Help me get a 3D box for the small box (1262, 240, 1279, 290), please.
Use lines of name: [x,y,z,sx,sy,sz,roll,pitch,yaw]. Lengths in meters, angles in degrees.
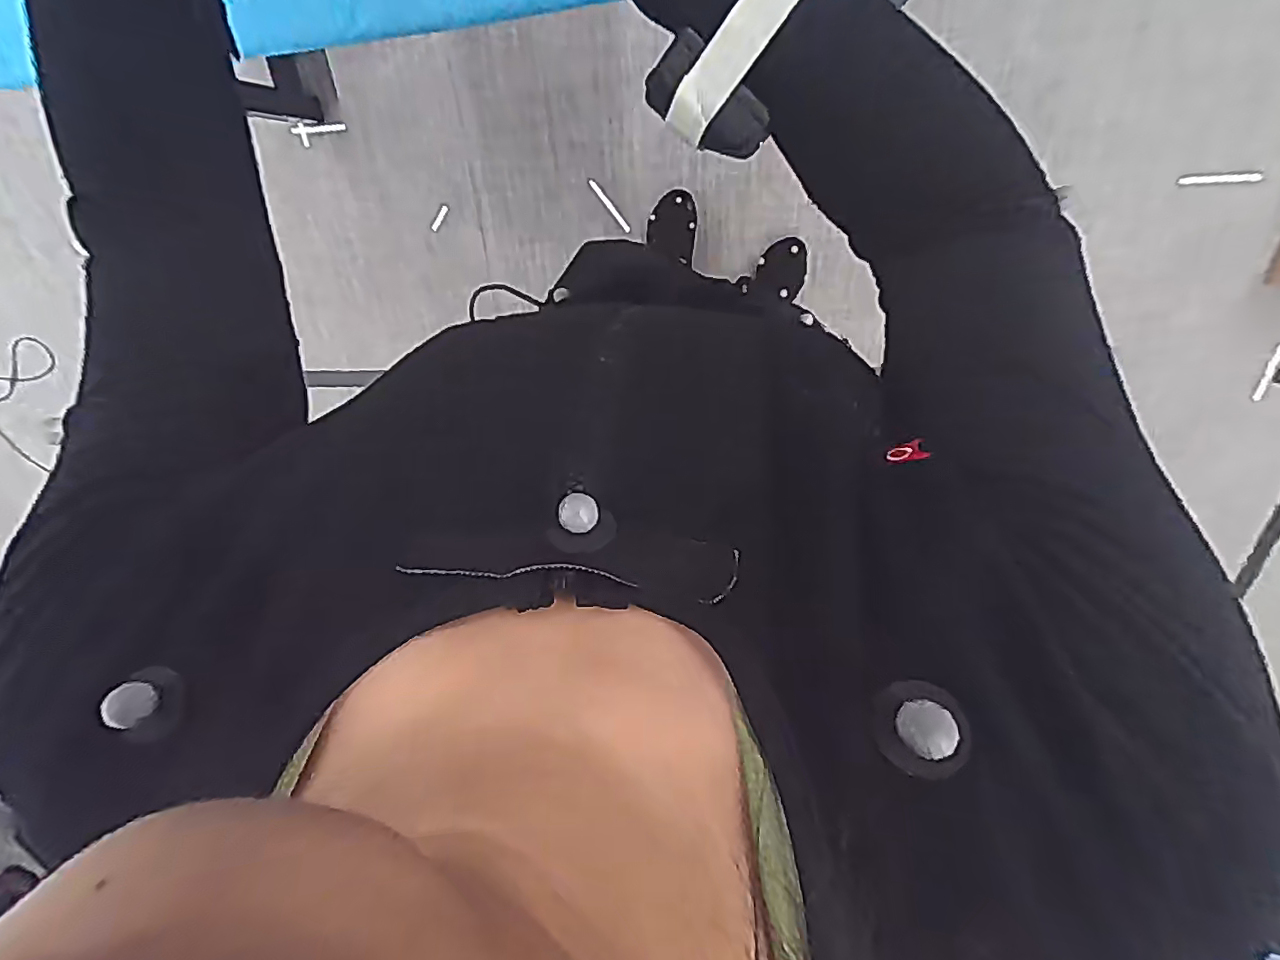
small box: [1.438,-0.463,1.084,0.168,0.176,0.179,2,118,6]
